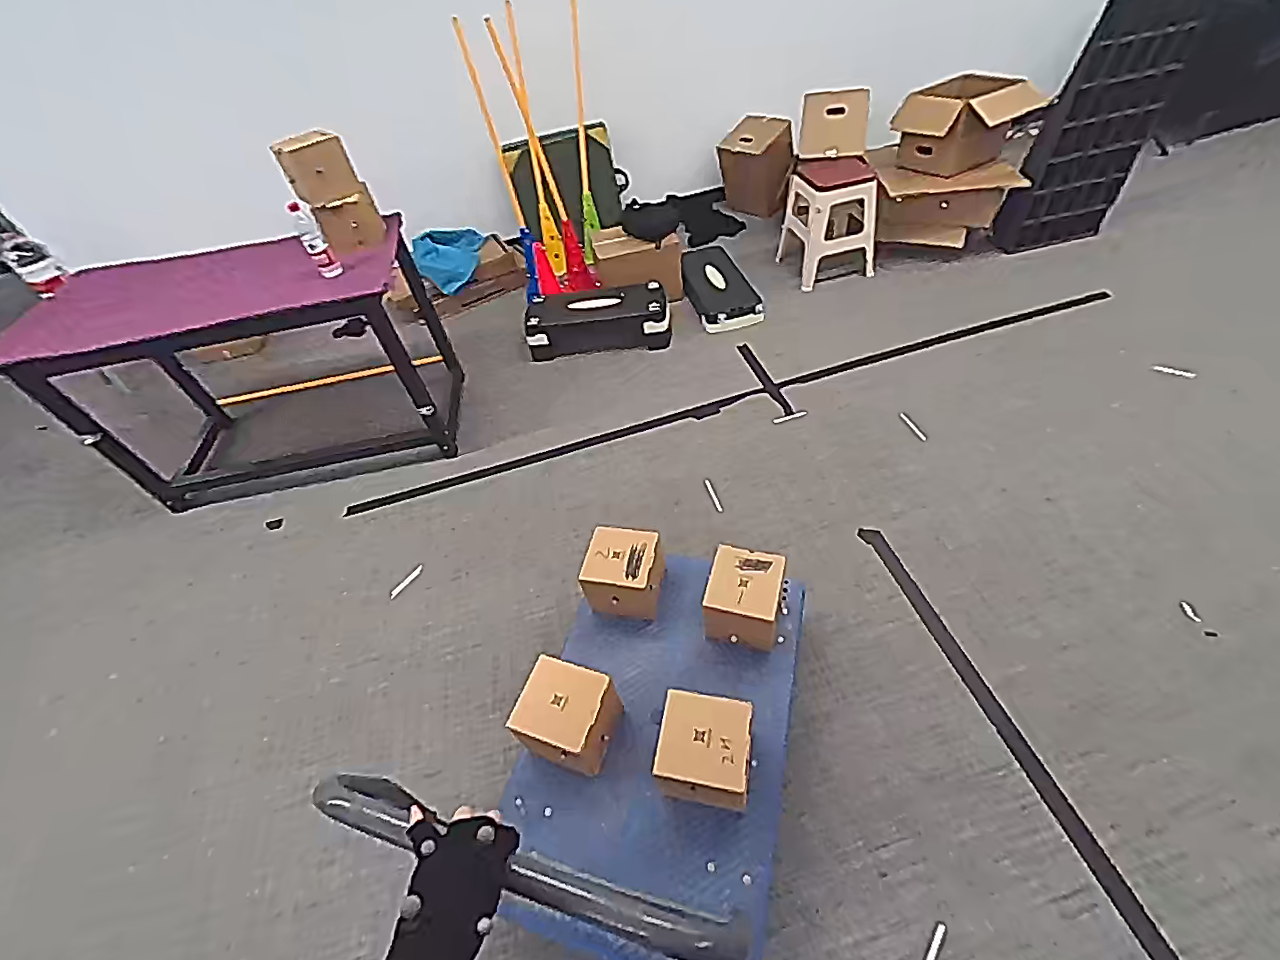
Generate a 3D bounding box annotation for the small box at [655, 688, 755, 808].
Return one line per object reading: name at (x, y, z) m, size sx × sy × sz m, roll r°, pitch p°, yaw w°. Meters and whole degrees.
small box at (0.140, 0.552, 1.111) m, size 0.179 × 0.176 × 0.168 m, roll 5°, pitch 50°, yaw 15°

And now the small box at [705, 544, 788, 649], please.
small box at (0.262, 0.286, 1.326) m, size 0.168 × 0.176 × 0.179 m, roll 9°, pitch 52°, yaw 18°

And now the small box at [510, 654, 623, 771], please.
small box at (-0.154, 0.518, 1.198) m, size 0.179 × 0.176 × 0.168 m, roll 11°, pitch 51°, yaw 18°
